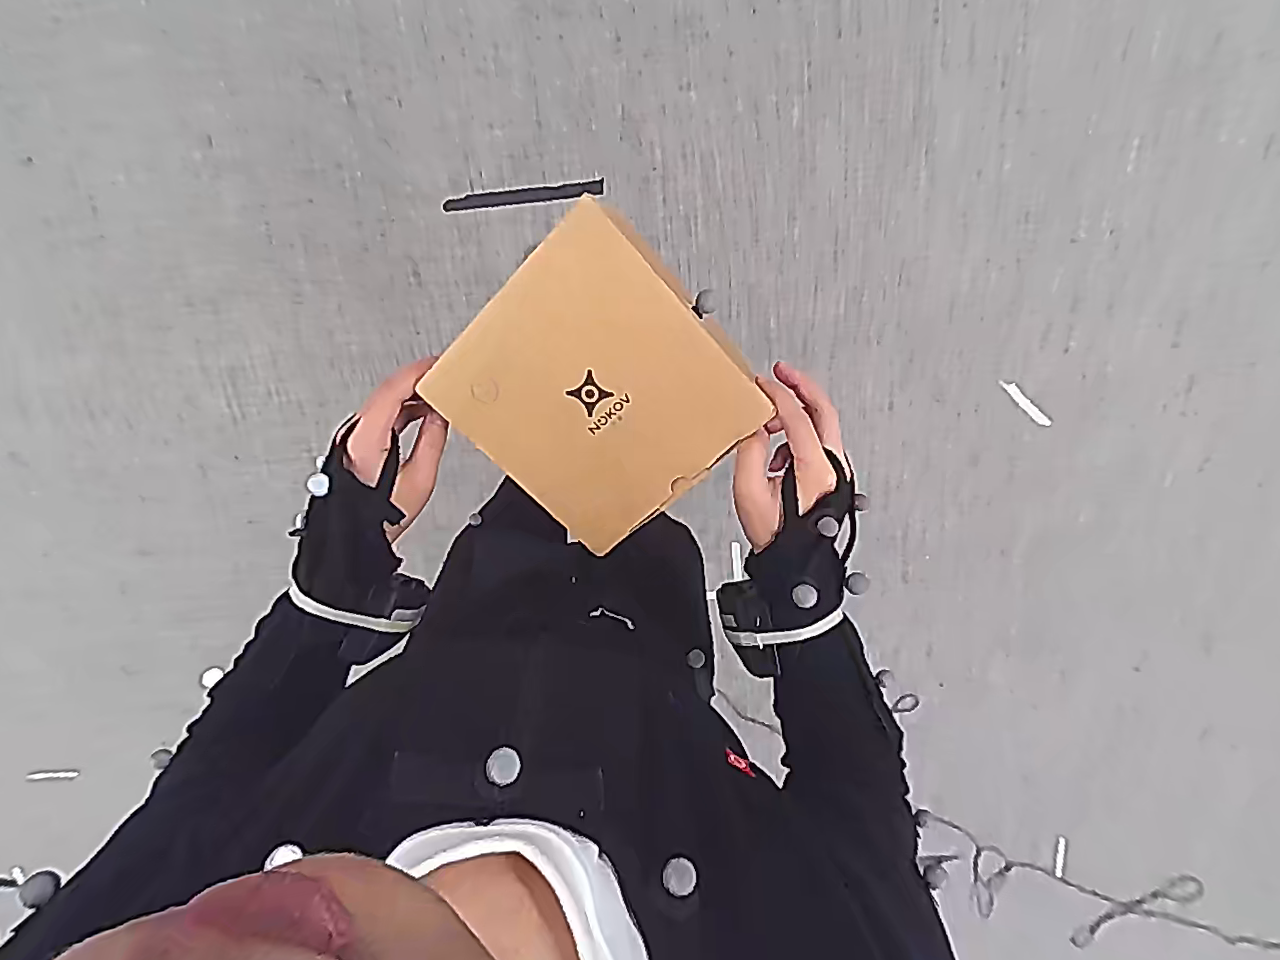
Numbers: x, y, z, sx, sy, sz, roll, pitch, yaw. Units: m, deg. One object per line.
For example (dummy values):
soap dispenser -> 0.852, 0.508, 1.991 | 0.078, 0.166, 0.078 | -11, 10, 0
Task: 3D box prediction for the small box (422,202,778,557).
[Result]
small box -> -0.024, -0.080, 0.423 | 0.168, 0.176, 0.179 | -41, 106, 18
